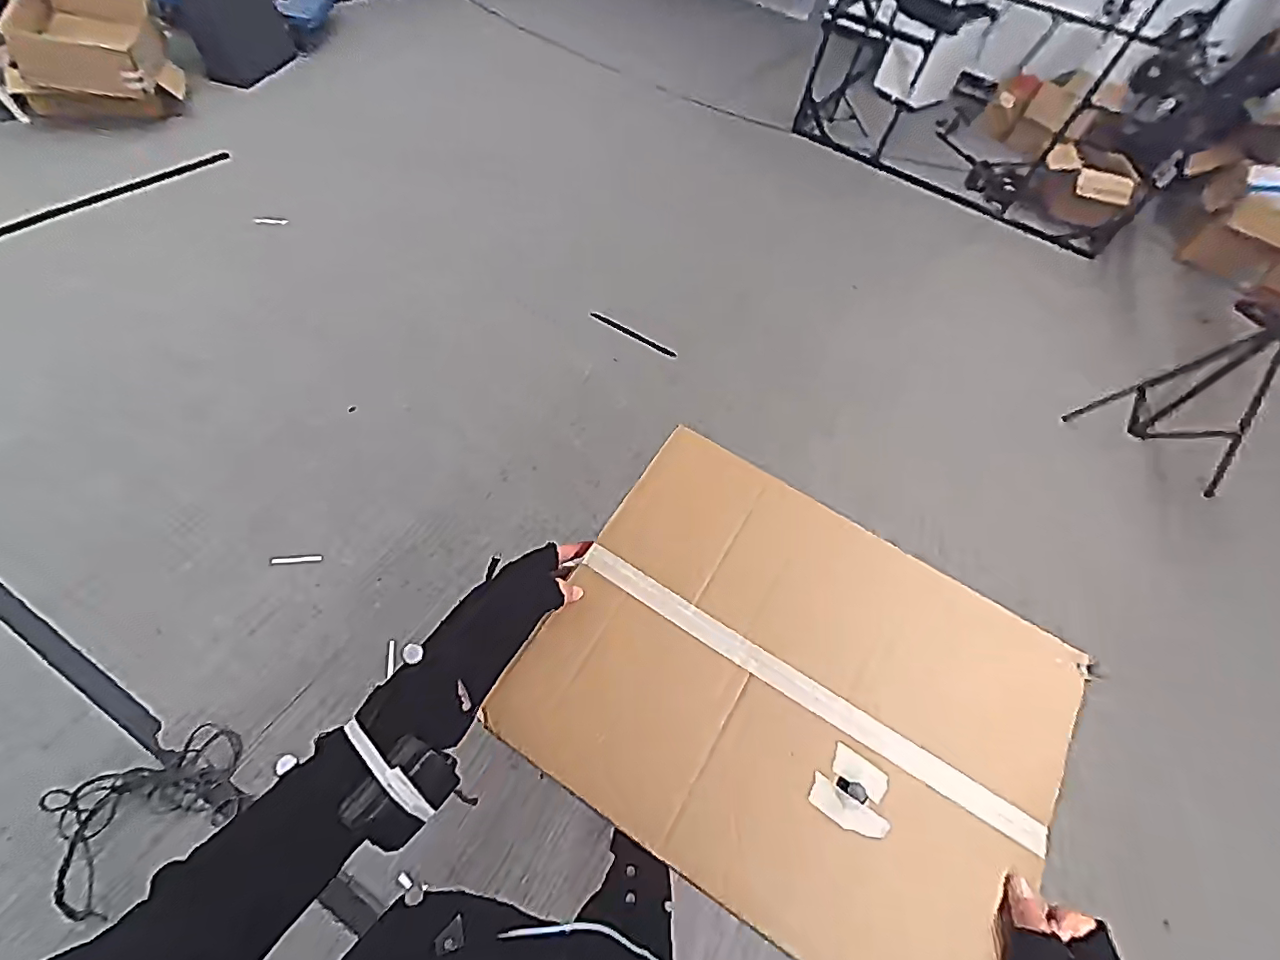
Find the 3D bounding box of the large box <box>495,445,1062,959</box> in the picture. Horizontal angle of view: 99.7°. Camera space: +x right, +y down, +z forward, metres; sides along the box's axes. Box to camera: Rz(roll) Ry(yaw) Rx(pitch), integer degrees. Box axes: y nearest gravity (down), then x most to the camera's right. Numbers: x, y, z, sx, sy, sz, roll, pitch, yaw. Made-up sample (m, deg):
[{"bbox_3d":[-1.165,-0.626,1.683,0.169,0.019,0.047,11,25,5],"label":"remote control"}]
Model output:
[{"bbox_3d":[0.117,0.235,0.587,0.408,0.320,0.320,31,68,10],"label":"large box"}]
